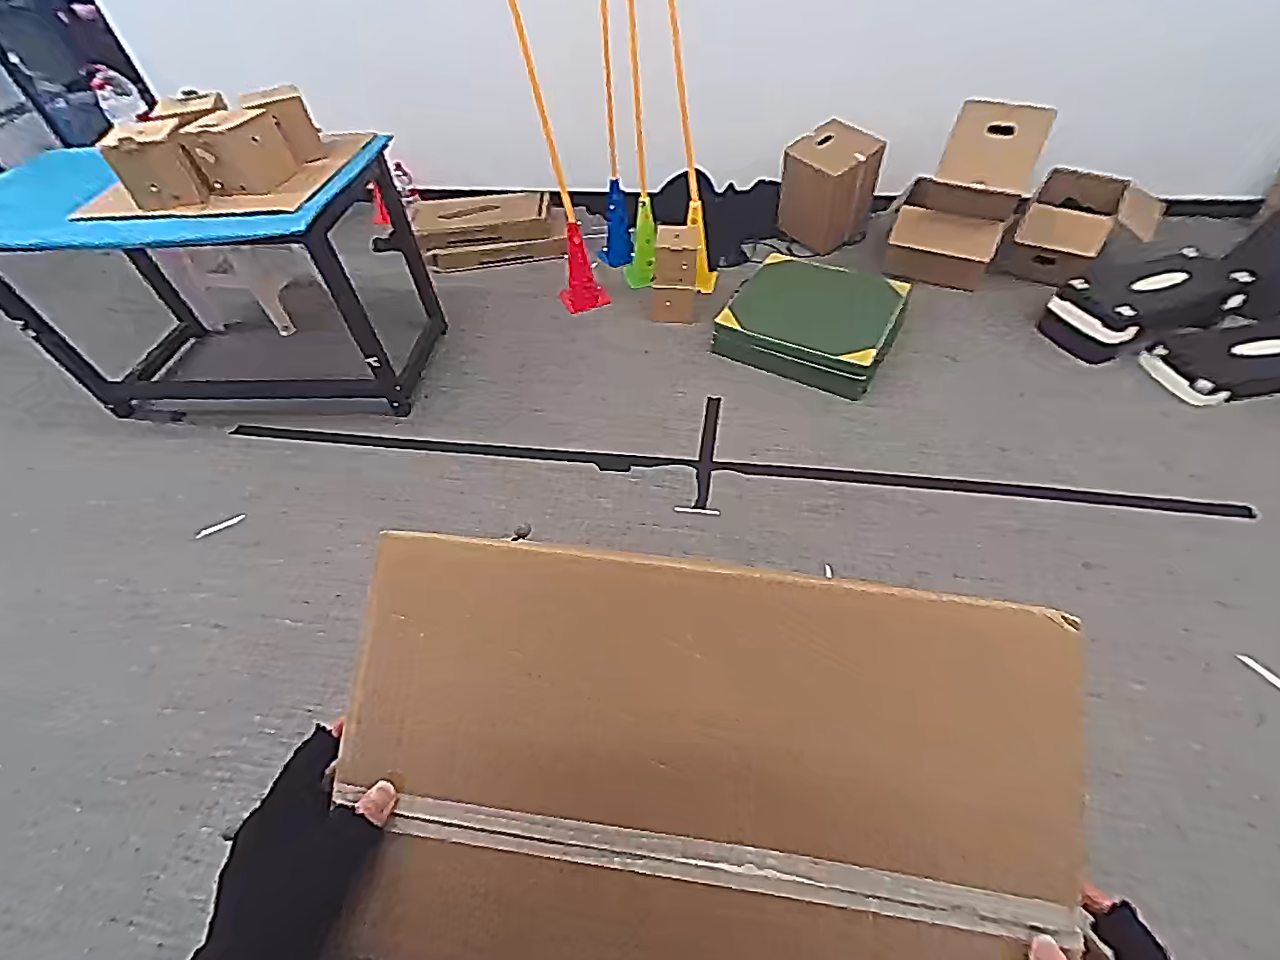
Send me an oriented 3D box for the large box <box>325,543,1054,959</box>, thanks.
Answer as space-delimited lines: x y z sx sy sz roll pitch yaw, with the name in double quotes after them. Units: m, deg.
0.033 0.230 0.455 0.408 0.320 0.320 6 83 6 "large box"
